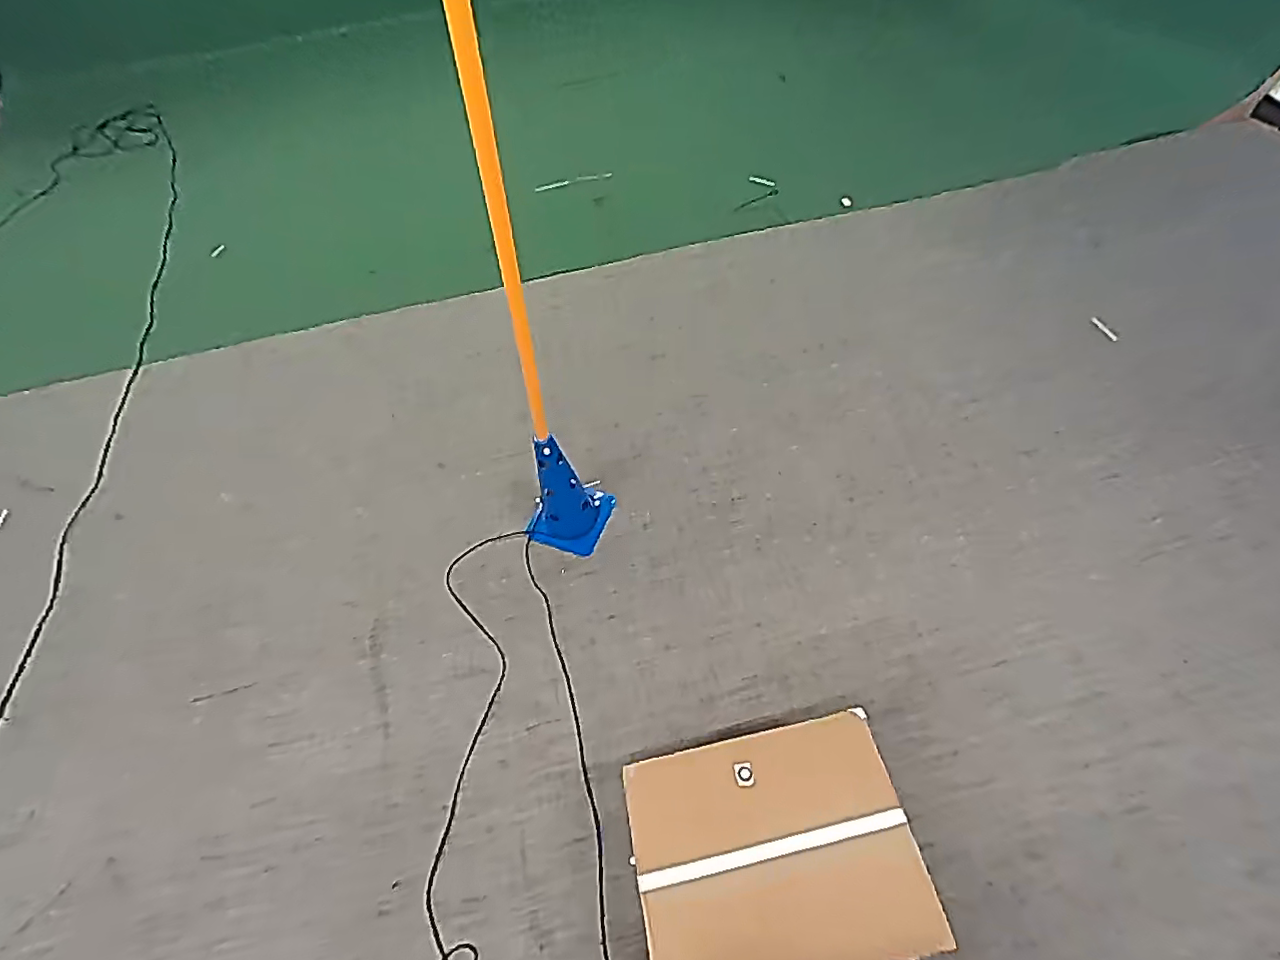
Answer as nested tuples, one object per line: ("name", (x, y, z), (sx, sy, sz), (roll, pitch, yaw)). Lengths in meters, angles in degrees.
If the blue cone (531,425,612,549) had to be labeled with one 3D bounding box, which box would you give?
("blue cone", (-0.196, -0.003, 1.326), (0.192, 0.380, 0.193), (14, 58, 13))
